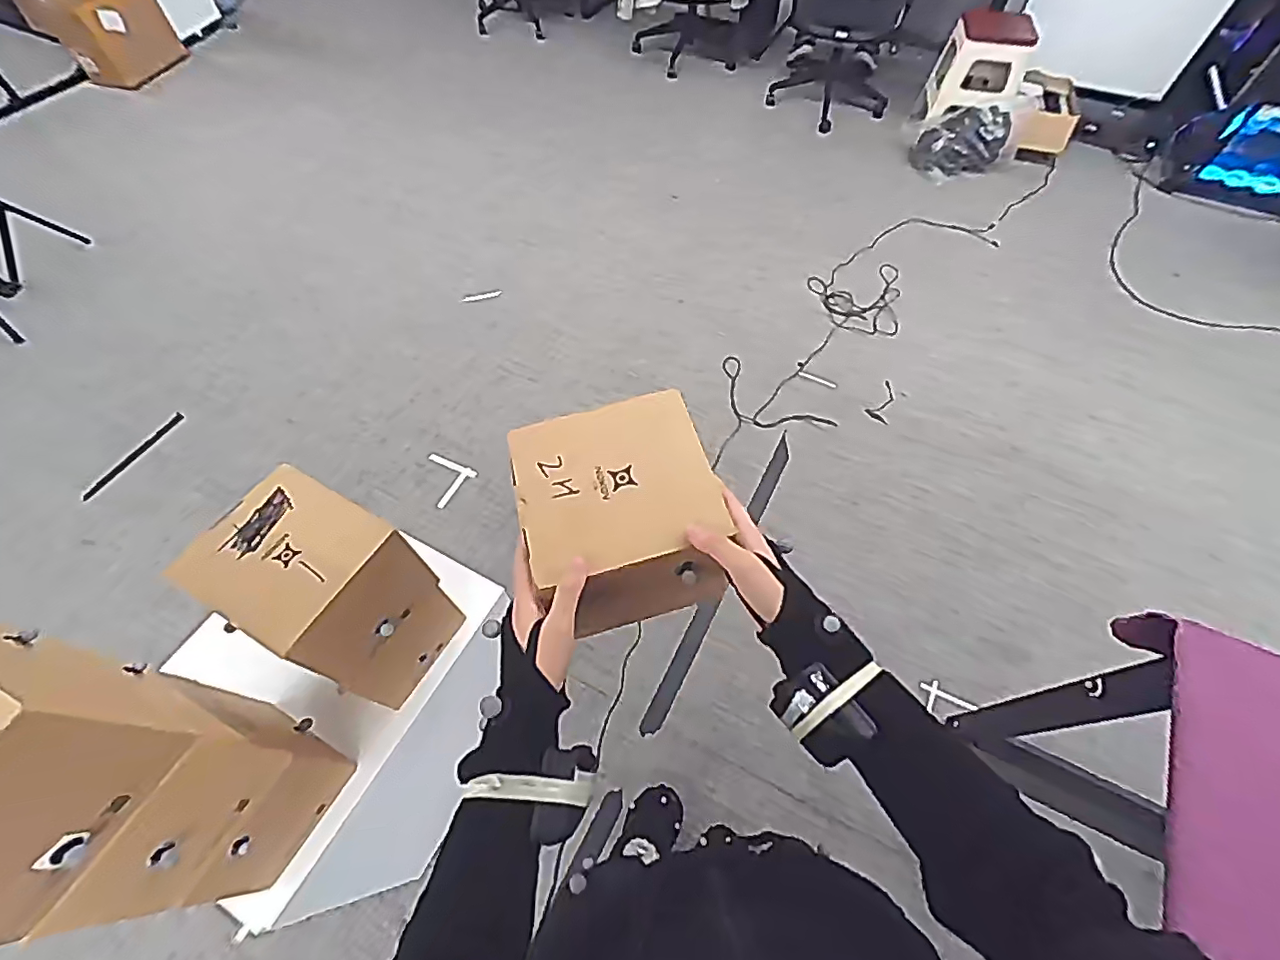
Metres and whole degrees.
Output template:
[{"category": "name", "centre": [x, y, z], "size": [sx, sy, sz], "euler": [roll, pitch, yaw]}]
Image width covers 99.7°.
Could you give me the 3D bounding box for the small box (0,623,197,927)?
[{"category": "small box", "centre": [-0.507, 0.216, 0.405], "size": [0.179, 0.176, 0.168], "euler": [24, 62, 13]}]

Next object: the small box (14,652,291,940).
[{"category": "small box", "centre": [-0.507, 0.302, 0.543], "size": [0.179, 0.176, 0.168], "euler": [24, 62, 14]}]

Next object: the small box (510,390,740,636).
[{"category": "small box", "centre": [-0.016, 0.040, 0.546], "size": [0.179, 0.176, 0.168], "euler": [-16, 60, -4]}]

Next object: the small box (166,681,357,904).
[{"category": "small box", "centre": [-0.508, 0.386, 0.681], "size": [0.179, 0.176, 0.168], "euler": [24, 63, 15]}]

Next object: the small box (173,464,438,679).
[{"category": "small box", "centre": [-0.382, 0.117, 0.653], "size": [0.179, 0.176, 0.168], "euler": [27, 63, 14]}]
